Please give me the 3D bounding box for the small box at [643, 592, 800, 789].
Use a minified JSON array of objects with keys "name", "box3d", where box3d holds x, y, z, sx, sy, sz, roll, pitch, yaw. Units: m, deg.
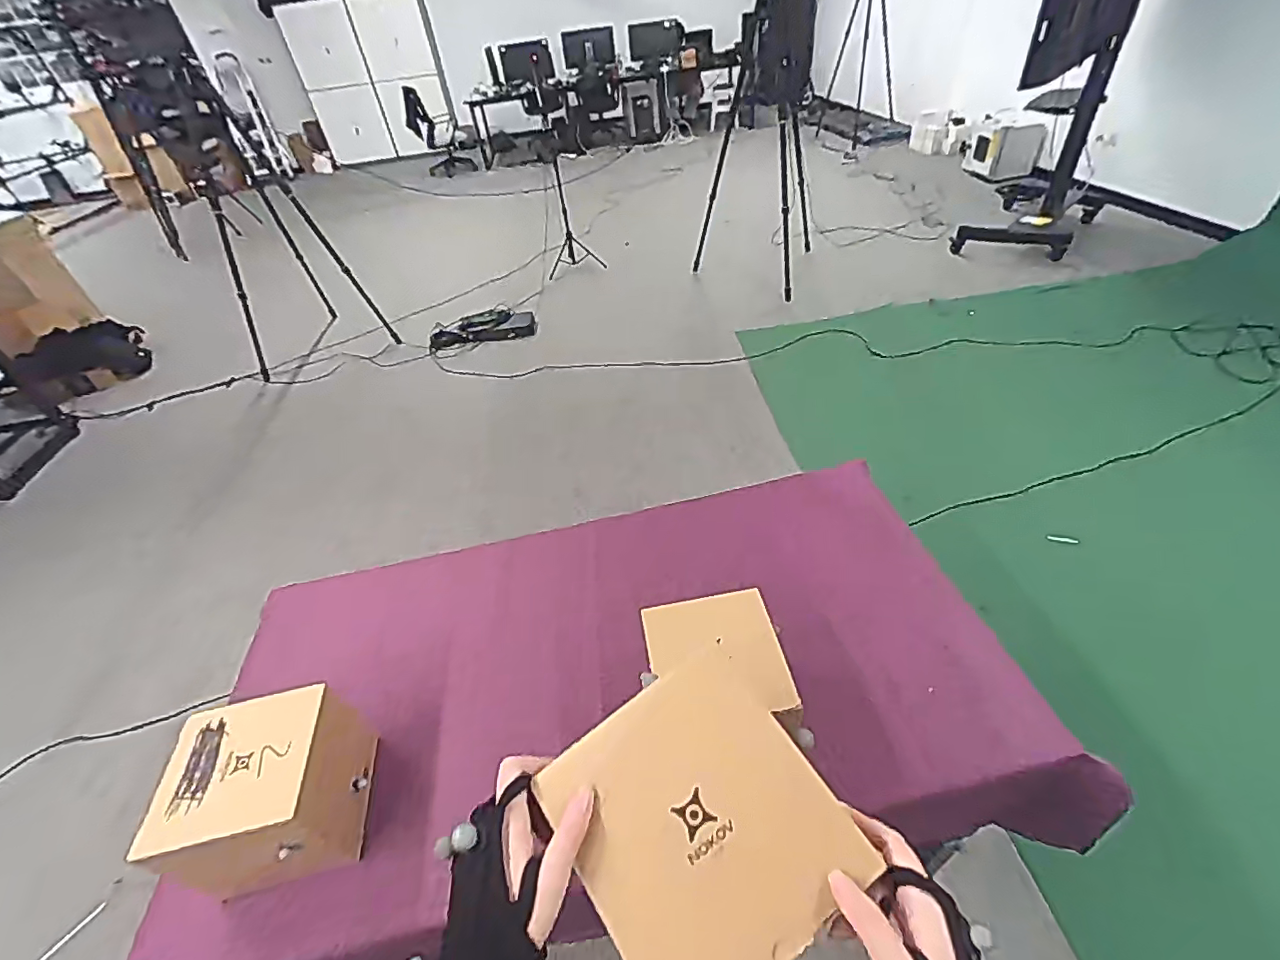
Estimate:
[{"name":"small box","box3d":[0.101,0.281,0.727,0.168,0.176,0.179,-10,42,-1]}]
